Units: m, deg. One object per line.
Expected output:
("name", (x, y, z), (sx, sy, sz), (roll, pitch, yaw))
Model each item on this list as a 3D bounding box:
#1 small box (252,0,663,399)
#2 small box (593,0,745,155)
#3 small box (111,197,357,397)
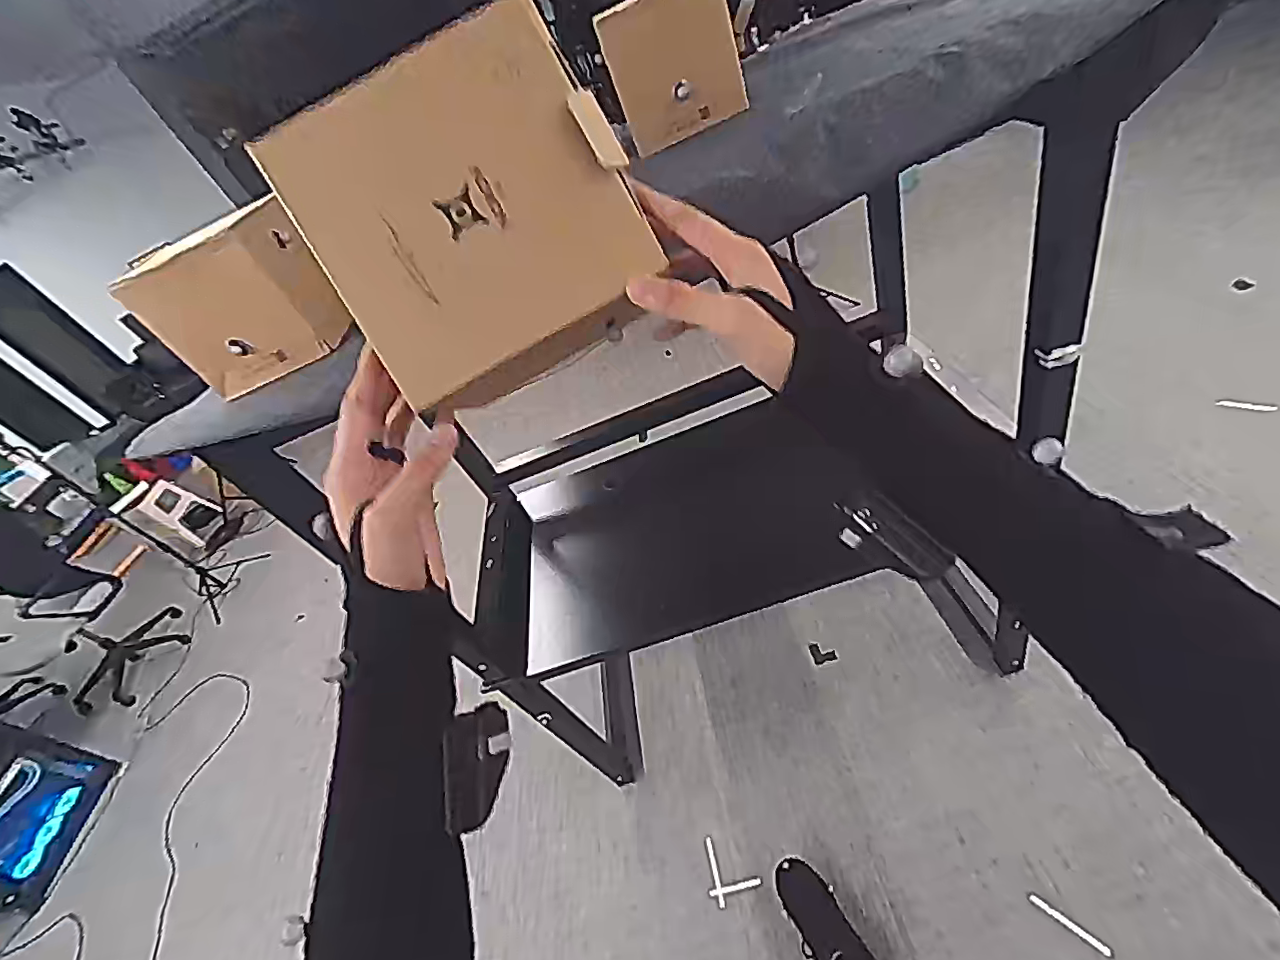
("small box", (-0.105, -0.171, 0.383), (0.179, 0.168, 0.176), (-30, 8, 1))
("small box", (0.040, -0.606, 0.789), (0.168, 0.176, 0.179), (-20, 40, 11))
("small box", (-0.507, -0.239, 0.714), (0.168, 0.176, 0.179), (-23, 40, 6))
